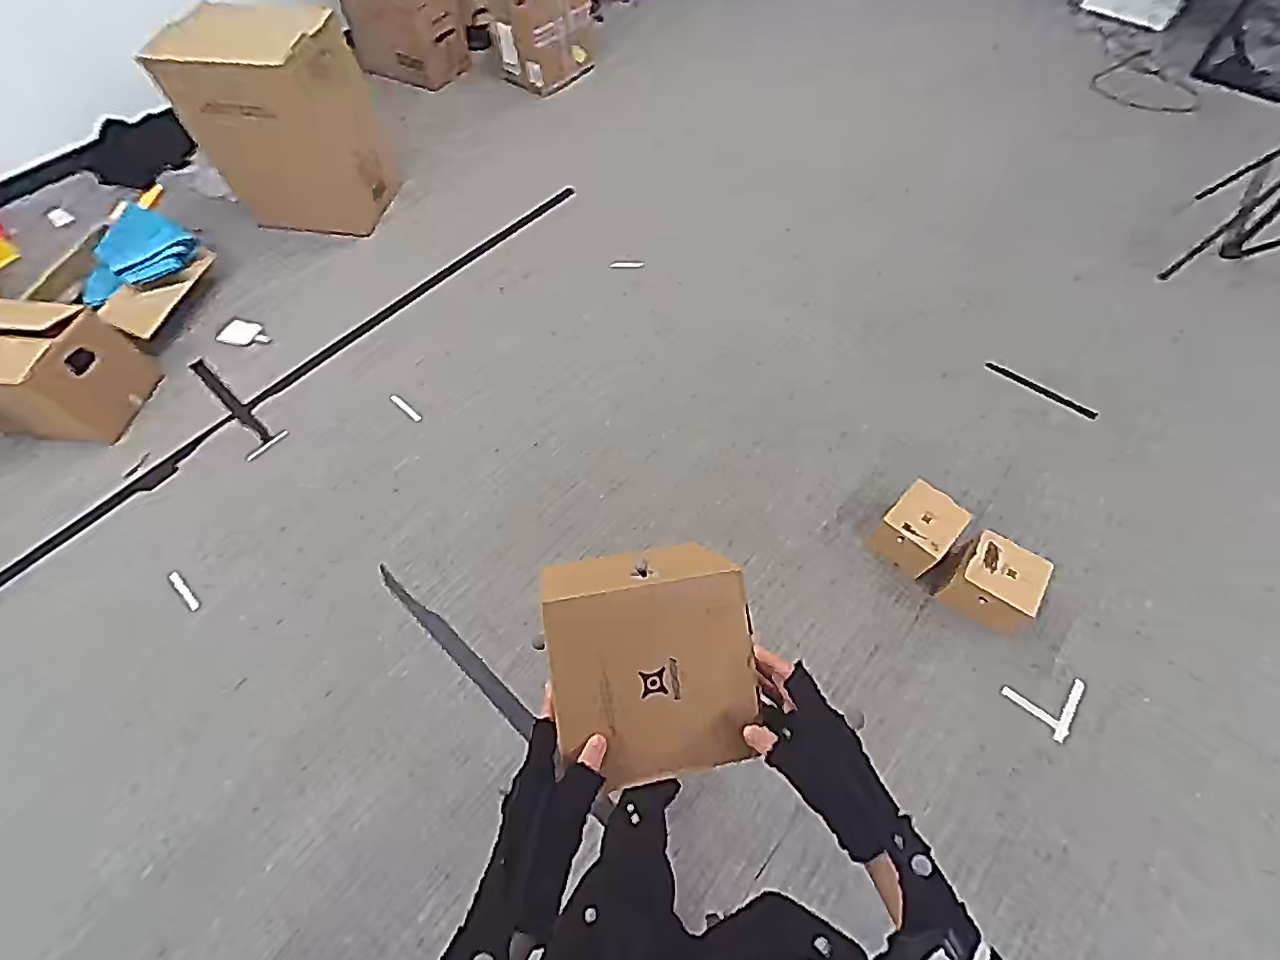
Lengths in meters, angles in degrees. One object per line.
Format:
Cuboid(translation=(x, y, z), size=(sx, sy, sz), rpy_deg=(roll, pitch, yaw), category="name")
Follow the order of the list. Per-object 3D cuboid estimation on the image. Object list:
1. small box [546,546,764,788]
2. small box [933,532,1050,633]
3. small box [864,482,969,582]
Cuboid(translation=(0.002, 0.163, 0.536), size=(0.179, 0.176, 0.168), rpy_deg=(-7, 90, -9), category="small box")
Cuboid(translation=(0.903, 0.272, 1.405), size=(0.179, 0.176, 0.168), rpy_deg=(33, 66, 17), category="small box")
Cuboid(translation=(0.748, 0.145, 1.482), size=(0.179, 0.176, 0.168), rpy_deg=(-41, 66, -20), category="small box")
